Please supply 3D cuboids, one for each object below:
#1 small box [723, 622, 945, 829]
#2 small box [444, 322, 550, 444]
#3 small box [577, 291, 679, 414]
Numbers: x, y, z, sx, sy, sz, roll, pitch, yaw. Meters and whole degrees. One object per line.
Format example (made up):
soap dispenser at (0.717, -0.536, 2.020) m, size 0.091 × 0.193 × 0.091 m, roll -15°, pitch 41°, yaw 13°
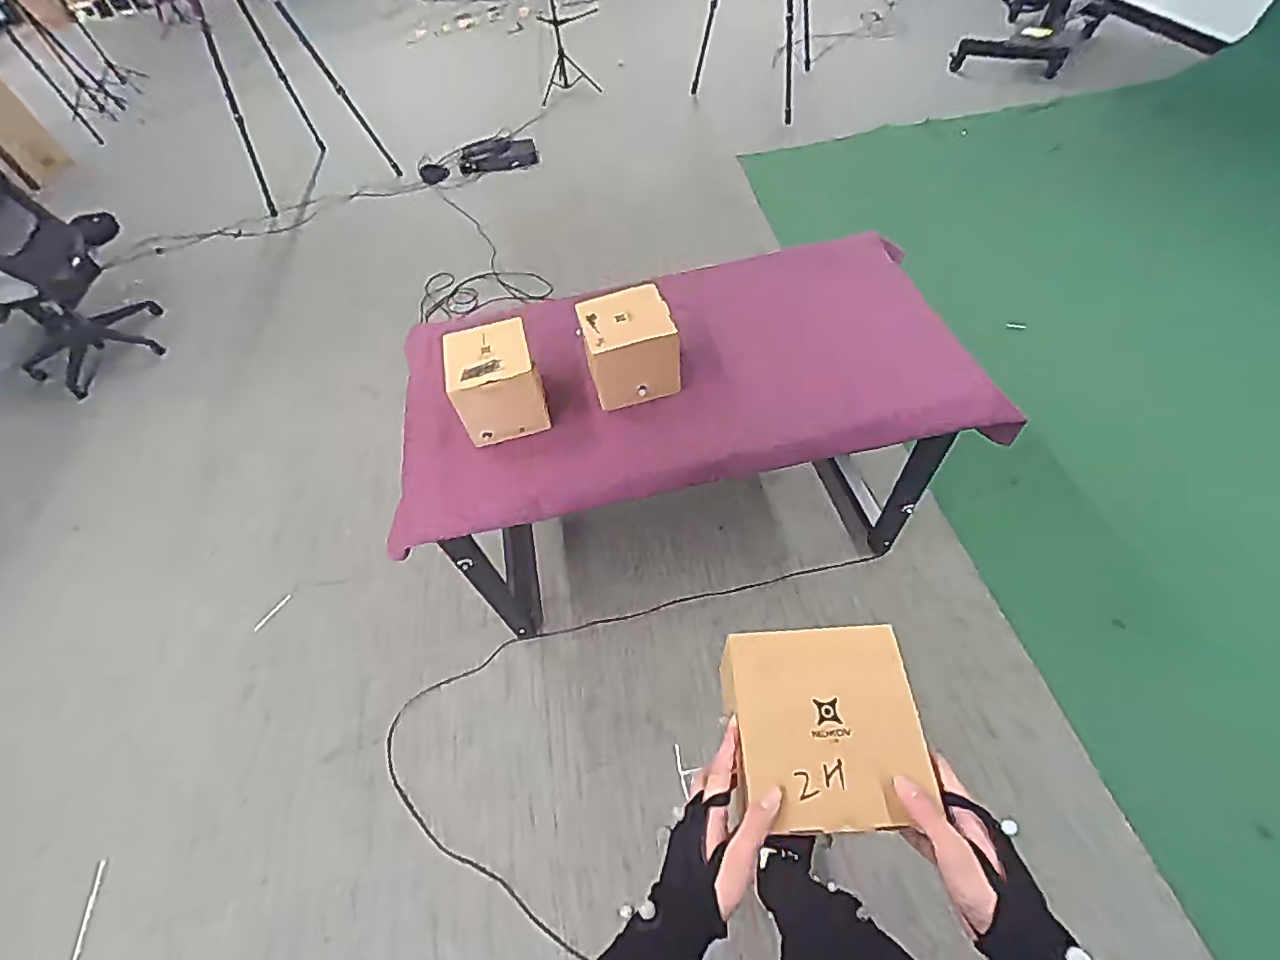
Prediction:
small box at (0.181, 0.263, 0.572) m, size 0.168 × 0.176 × 0.179 m, roll -4°, pitch 59°, yaw 3°
small box at (-0.294, -0.193, 1.127) m, size 0.168 × 0.176 × 0.179 m, roll -15°, pitch 54°, yaw -4°
small box at (-0.022, -0.267, 1.148) m, size 0.179 × 0.176 × 0.168 m, roll -15°, pitch 55°, yaw -4°
